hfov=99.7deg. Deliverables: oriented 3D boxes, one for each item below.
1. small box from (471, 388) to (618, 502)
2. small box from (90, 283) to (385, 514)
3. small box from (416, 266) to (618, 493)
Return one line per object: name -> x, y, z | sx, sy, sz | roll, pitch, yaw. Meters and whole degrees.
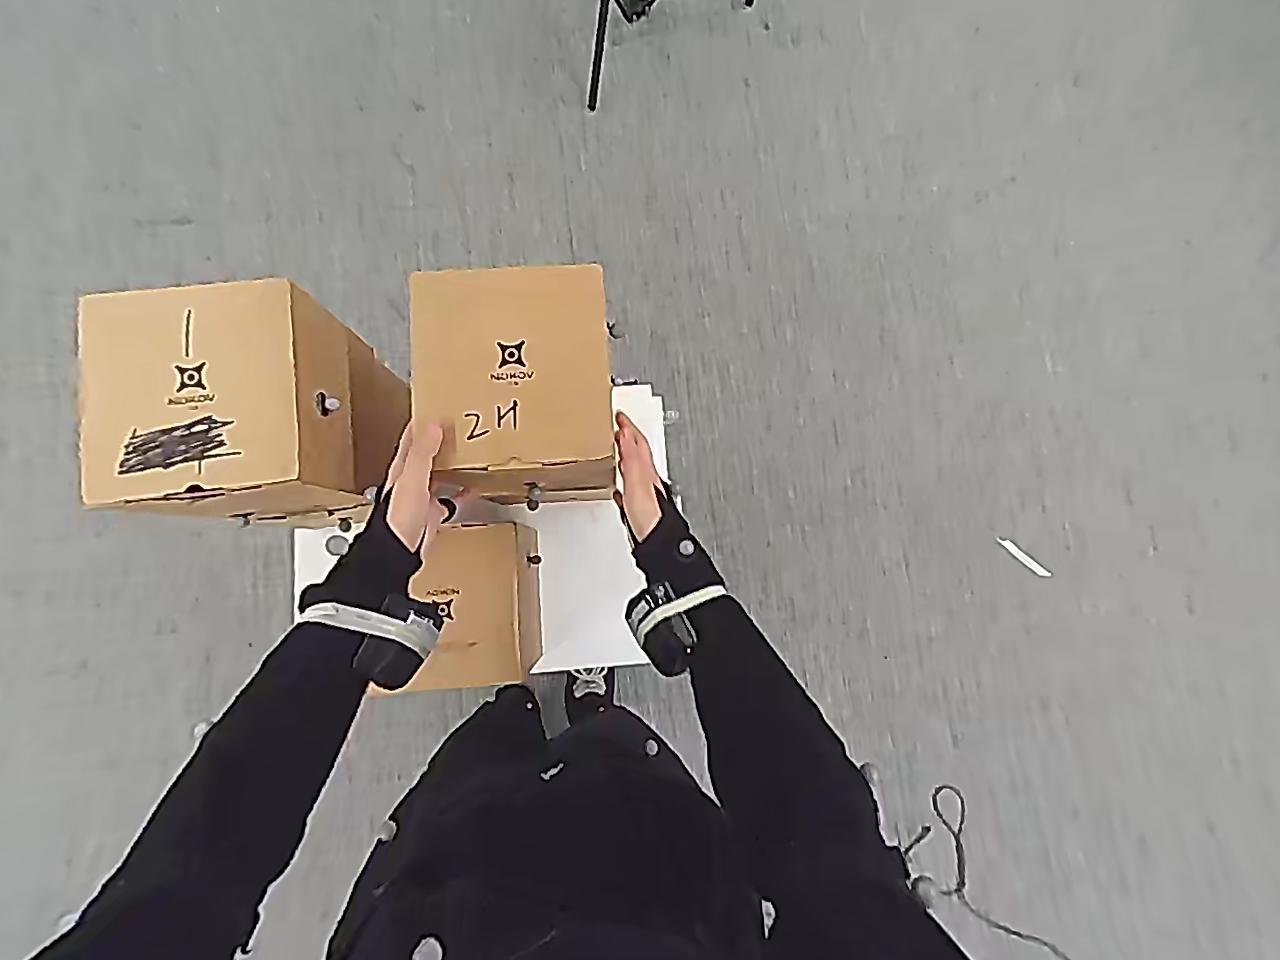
small box -> -0.115, -0.063, 0.700 | 0.168, 0.176, 0.179 | -3, 83, -2
small box -> -0.362, -0.062, 0.519 | 0.168, 0.176, 0.179 | -7, 83, -5
small box -> -0.110, -0.087, 0.536 | 0.168, 0.176, 0.179 | -4, 83, -3
